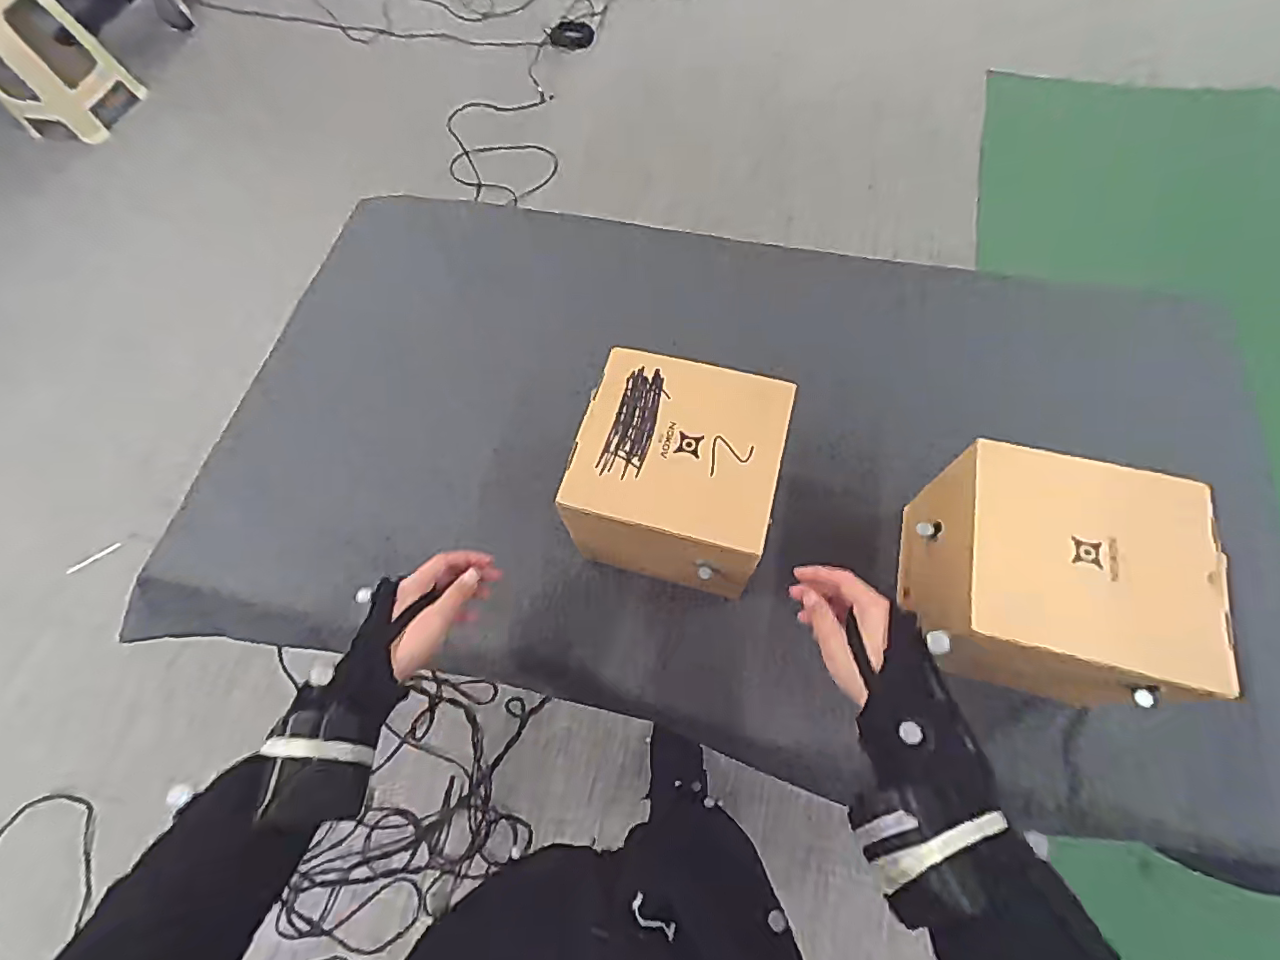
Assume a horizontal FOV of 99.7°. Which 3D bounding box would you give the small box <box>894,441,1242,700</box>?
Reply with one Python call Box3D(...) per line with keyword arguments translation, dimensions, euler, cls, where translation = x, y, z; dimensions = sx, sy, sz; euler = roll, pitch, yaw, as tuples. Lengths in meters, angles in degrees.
Box3D(translation=(0.346, 0.089, 0.479), dimensions=(0.179, 0.176, 0.168), euler=(13, 67, 9), cls="small box")
